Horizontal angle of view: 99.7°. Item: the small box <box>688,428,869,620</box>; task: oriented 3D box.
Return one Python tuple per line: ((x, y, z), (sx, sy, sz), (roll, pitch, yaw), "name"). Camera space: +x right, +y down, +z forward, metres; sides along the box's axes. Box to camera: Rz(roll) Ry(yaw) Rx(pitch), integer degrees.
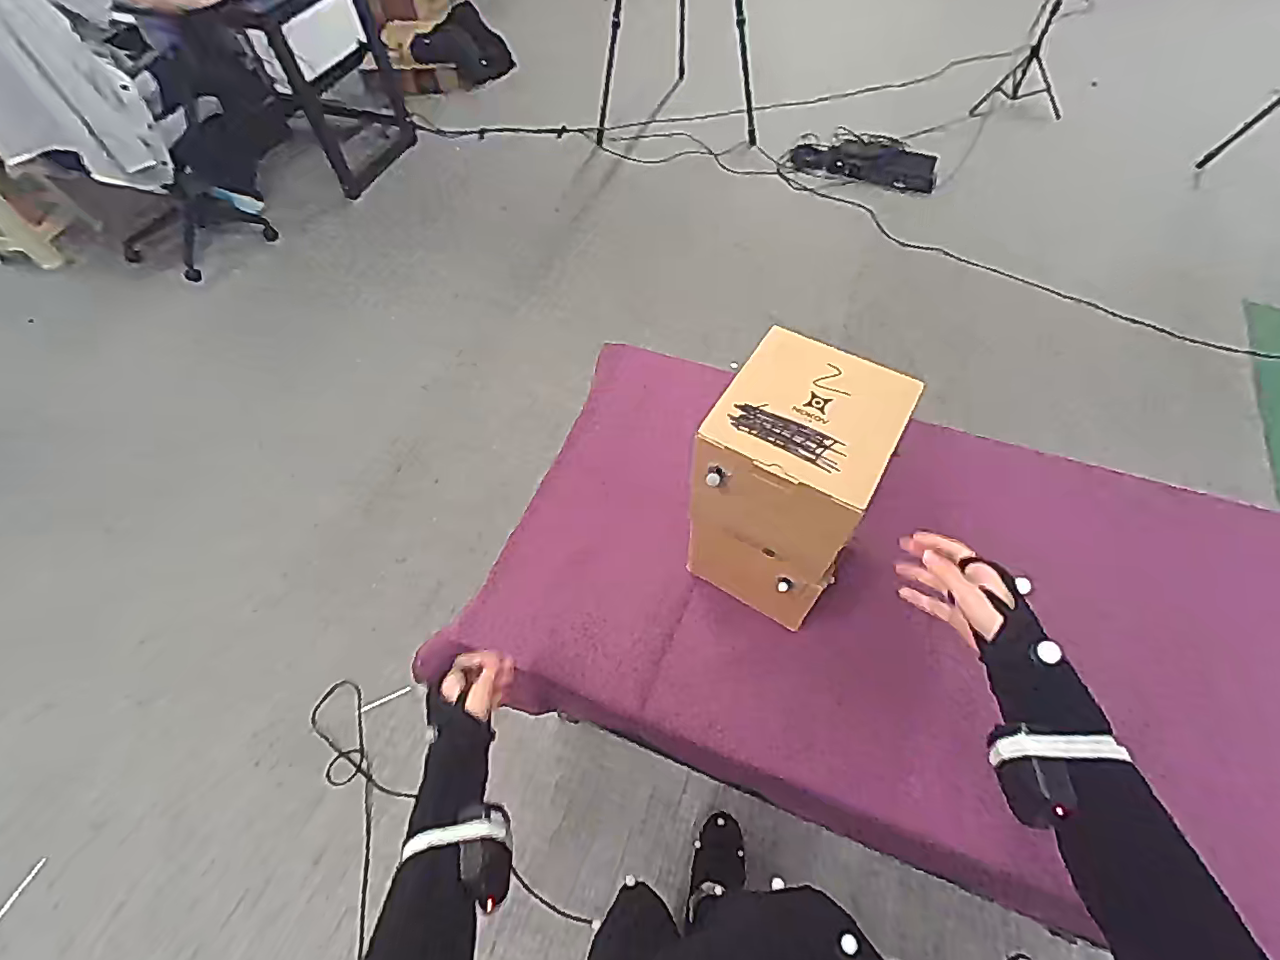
((0.178, 0.066, 0.741), (0.179, 0.176, 0.168), (27, 62, 17), "small box")
